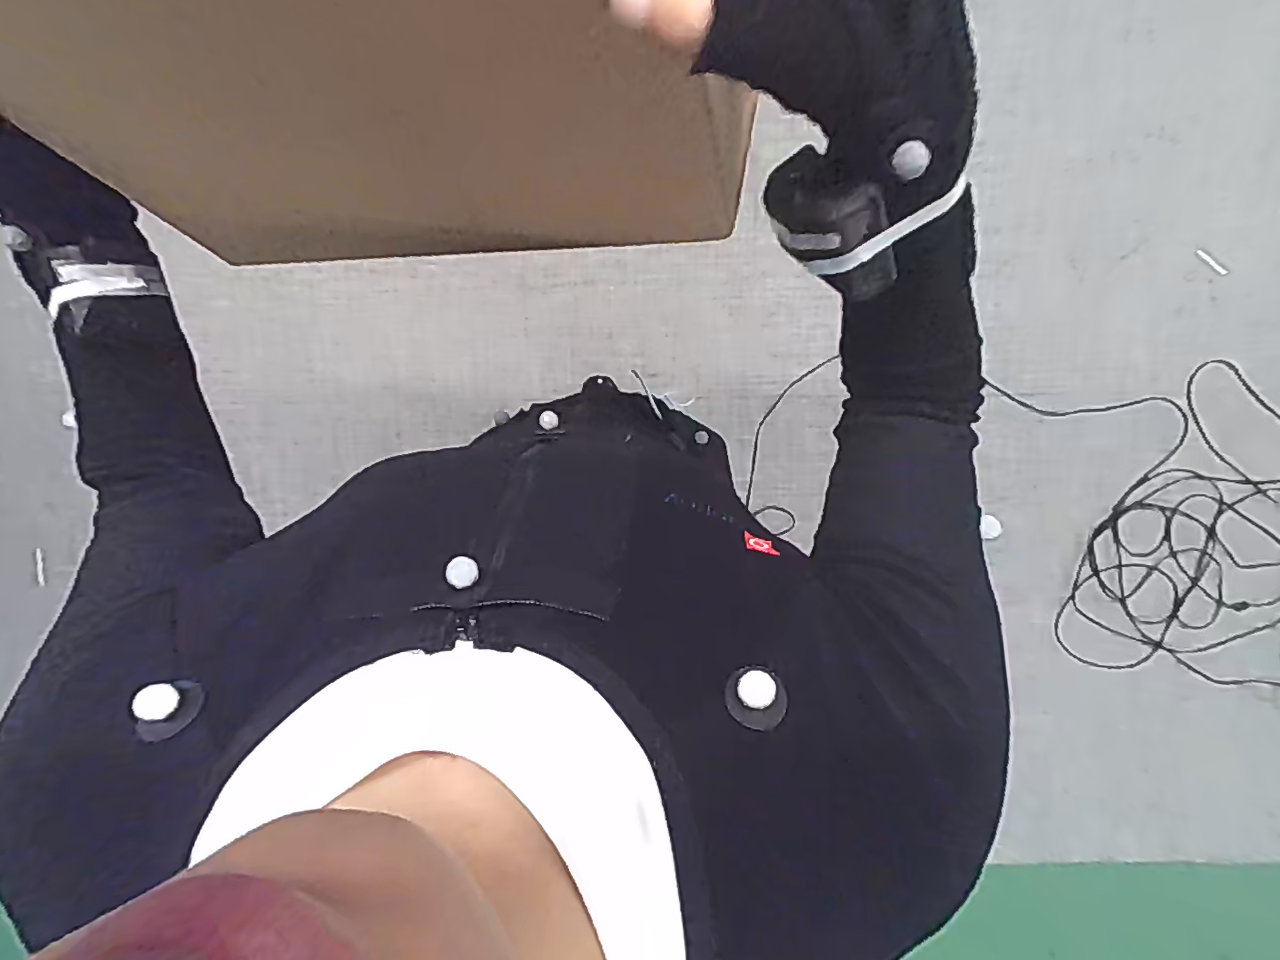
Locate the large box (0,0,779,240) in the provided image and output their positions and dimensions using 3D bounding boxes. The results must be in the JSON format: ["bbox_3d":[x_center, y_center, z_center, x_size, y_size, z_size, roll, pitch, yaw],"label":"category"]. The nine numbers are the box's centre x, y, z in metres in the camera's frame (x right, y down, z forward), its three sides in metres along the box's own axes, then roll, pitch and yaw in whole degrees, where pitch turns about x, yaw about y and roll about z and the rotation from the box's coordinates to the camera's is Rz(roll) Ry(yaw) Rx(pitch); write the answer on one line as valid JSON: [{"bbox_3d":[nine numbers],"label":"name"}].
[{"bbox_3d":[-0.140,-0.353,0.263,0.408,0.320,0.320,6,77,18],"label":"large box"}]
